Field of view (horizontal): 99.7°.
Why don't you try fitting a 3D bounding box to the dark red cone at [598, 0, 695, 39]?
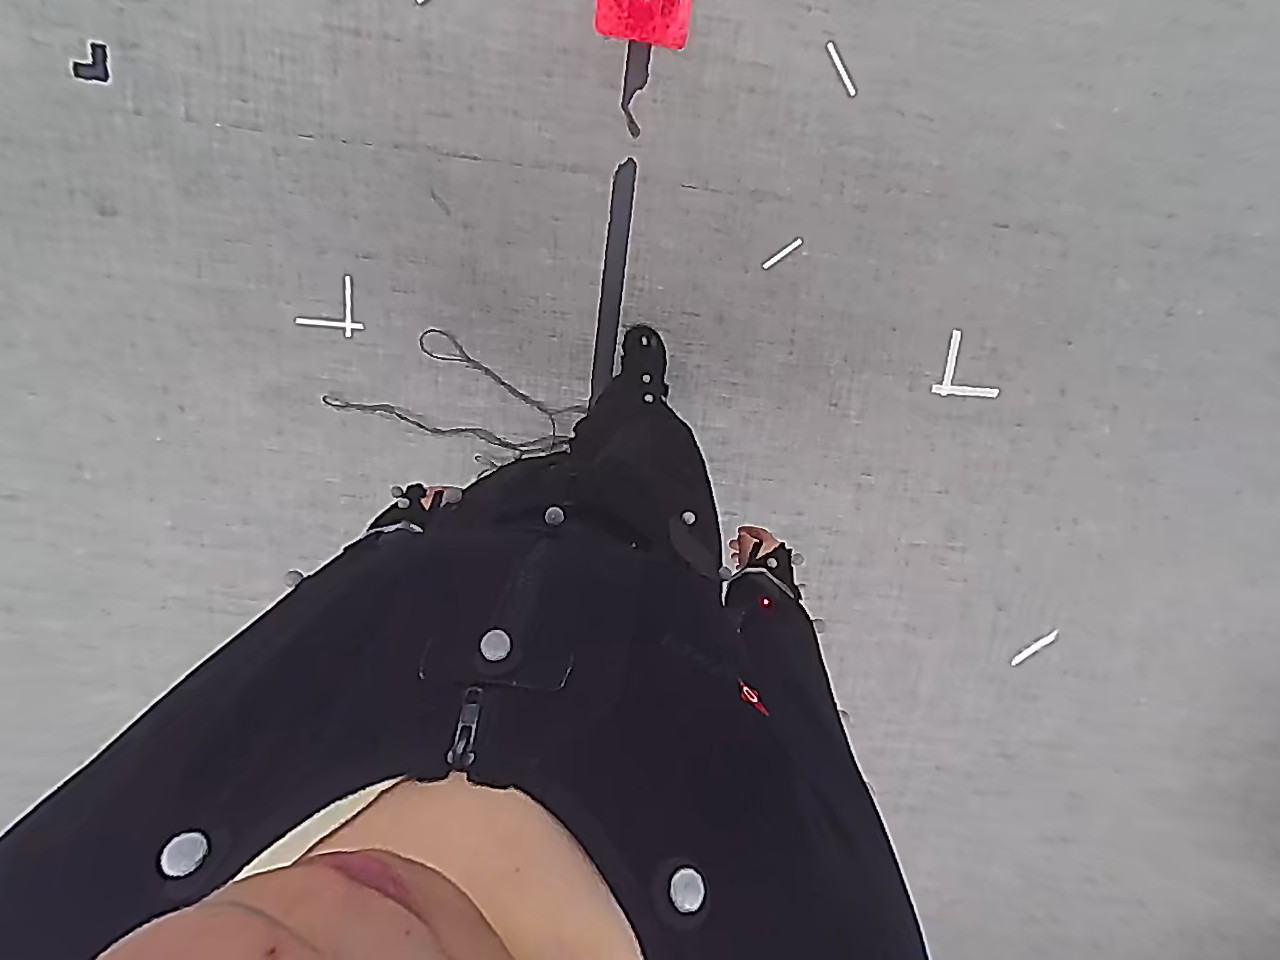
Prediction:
[{"bbox_3d":[0.022,-0.984,0.941,0.201,0.394,0.202,6,103,-3],"label":"dark red cone"}]
